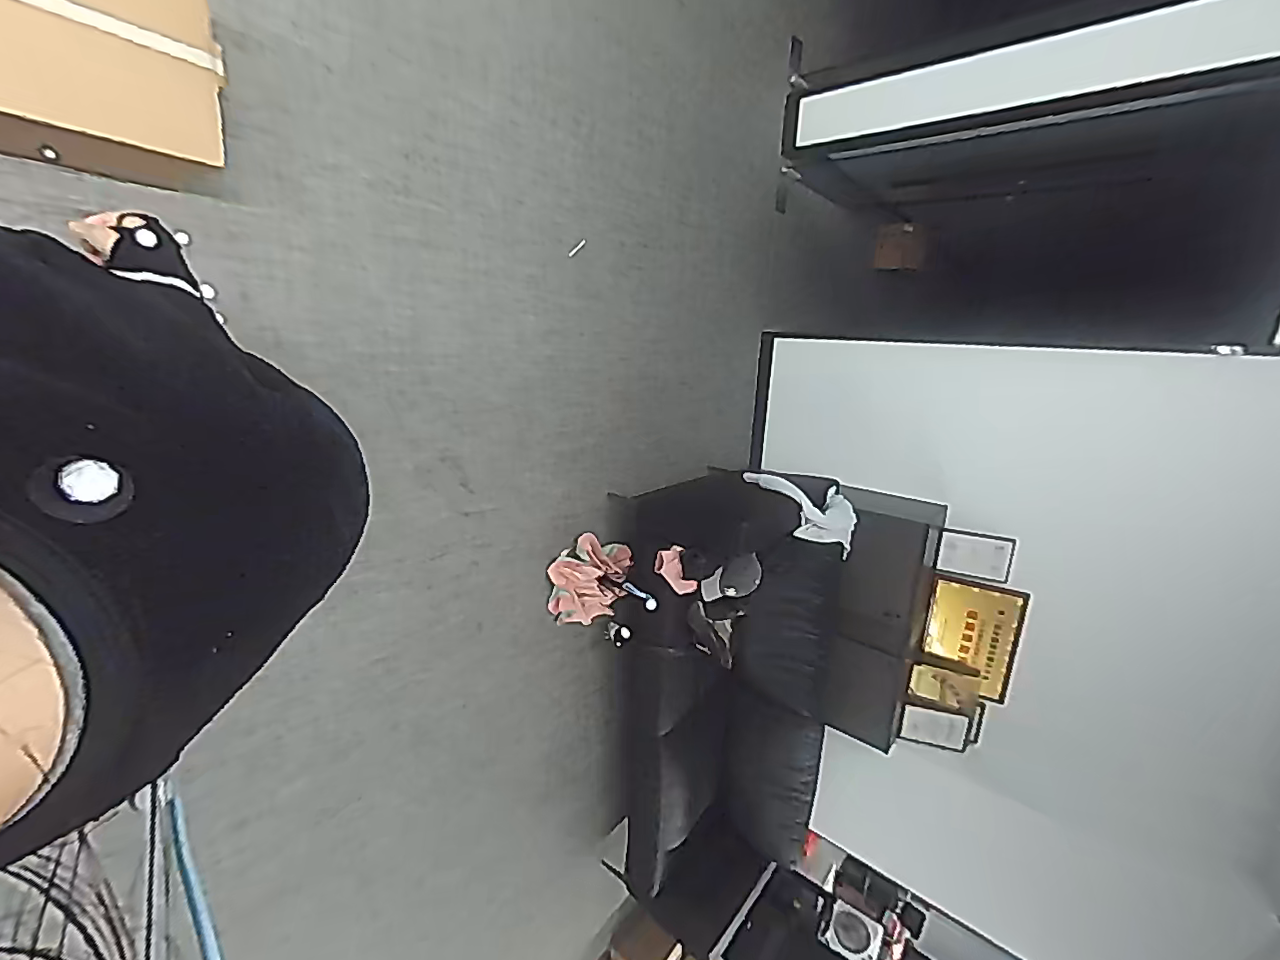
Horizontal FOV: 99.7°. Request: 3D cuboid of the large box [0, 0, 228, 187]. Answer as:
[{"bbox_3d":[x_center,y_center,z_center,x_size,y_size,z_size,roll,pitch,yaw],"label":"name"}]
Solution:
[{"bbox_3d":[-0.956,-0.699,0.864,0.408,0.320,0.320,-11,109,-48],"label":"large box"}]
